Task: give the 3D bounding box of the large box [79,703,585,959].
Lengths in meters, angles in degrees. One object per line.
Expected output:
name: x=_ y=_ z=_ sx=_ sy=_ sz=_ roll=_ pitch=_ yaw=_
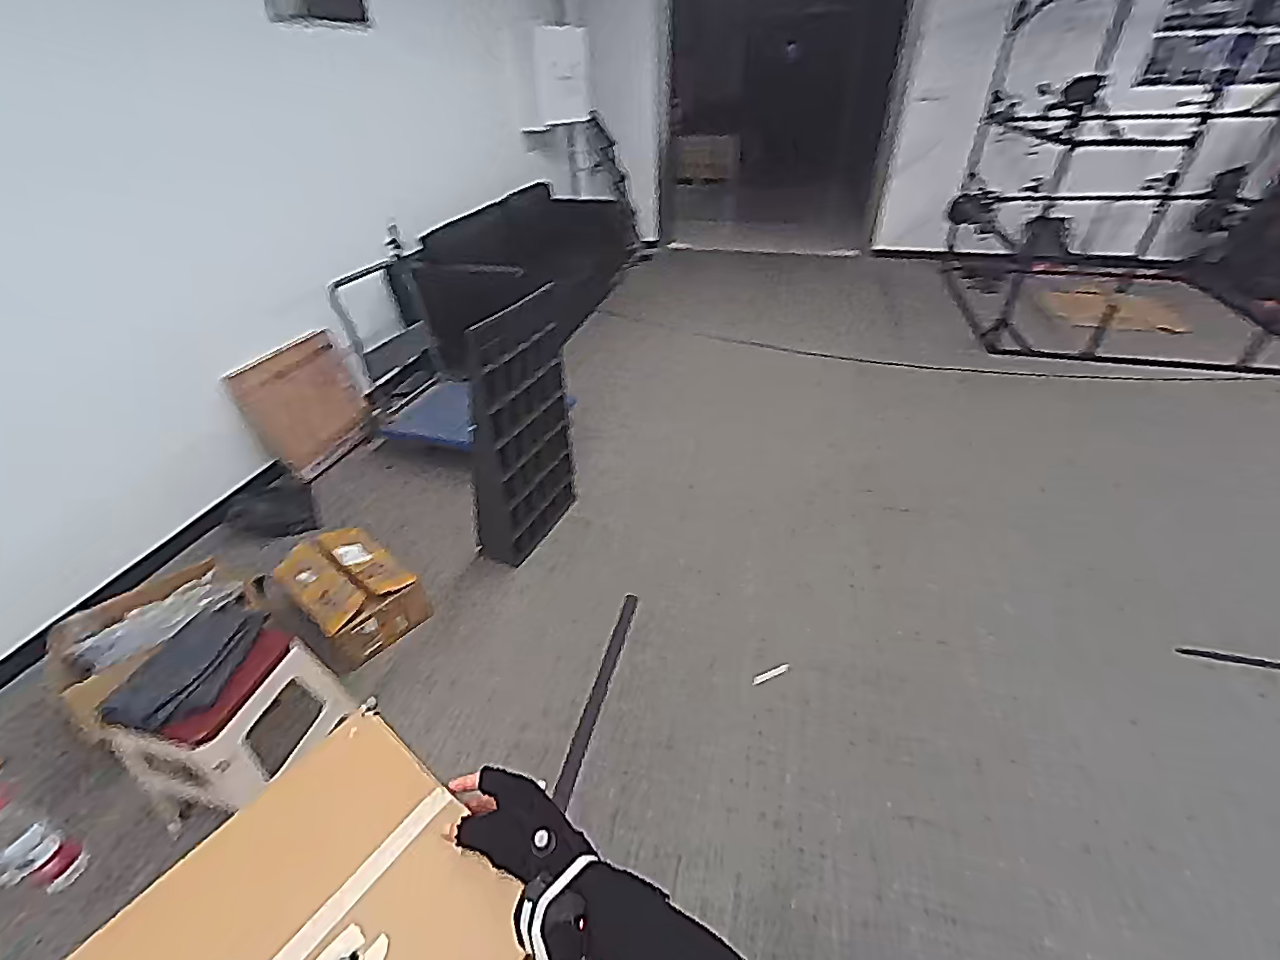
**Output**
large box: x=-0.309 y=0.543 z=0.559 sx=0.320 sy=0.320 sz=0.408 roll=28 pitch=48 yaw=28
